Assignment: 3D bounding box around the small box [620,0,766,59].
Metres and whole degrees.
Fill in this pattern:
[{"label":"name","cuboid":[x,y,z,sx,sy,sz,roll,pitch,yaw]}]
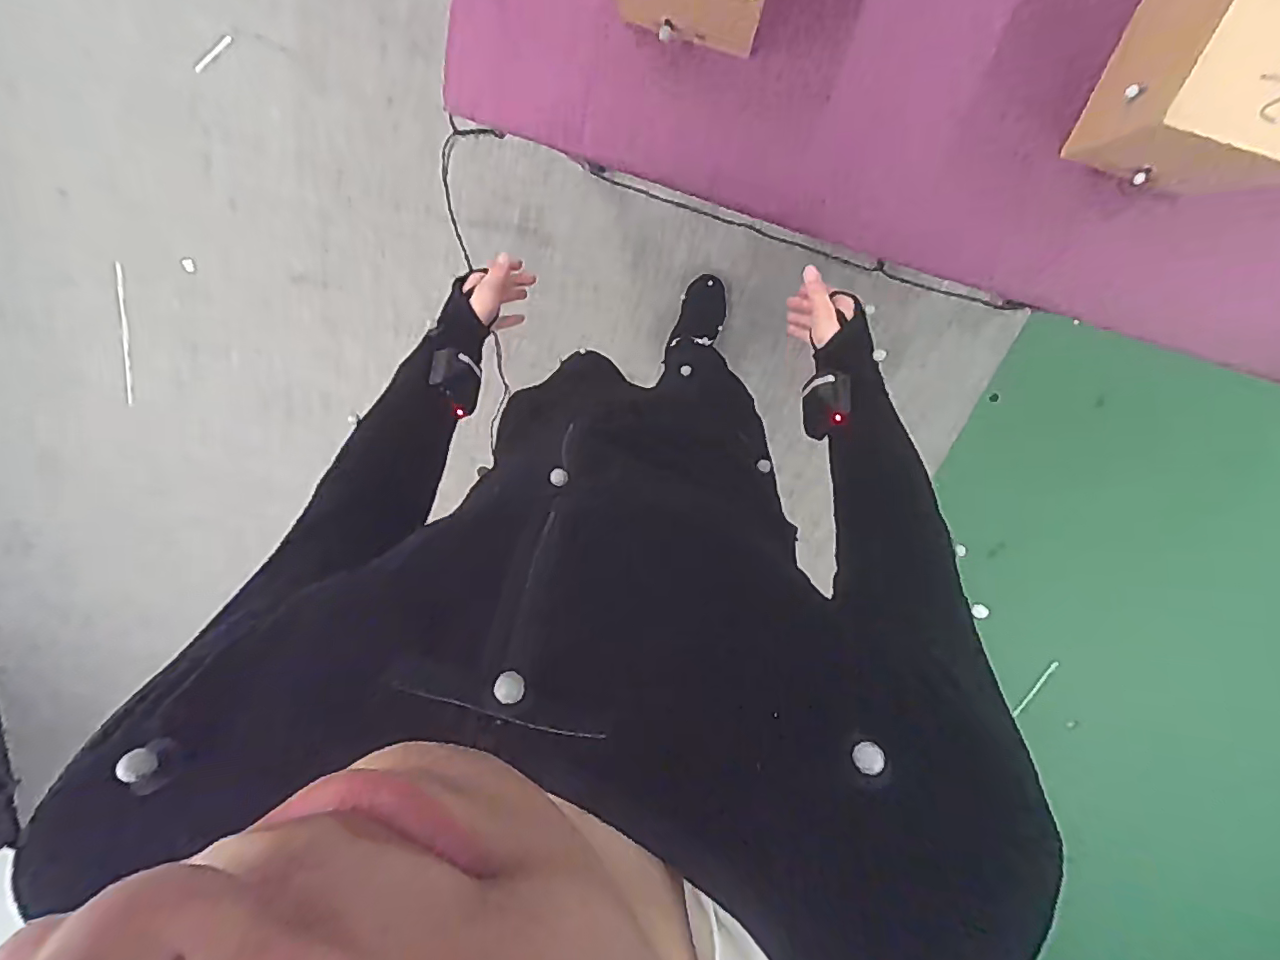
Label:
[{"label":"small box","cuboid":[0.067,-0.581,0.552,0.168,0.176,0.179,18,113,1]}]
